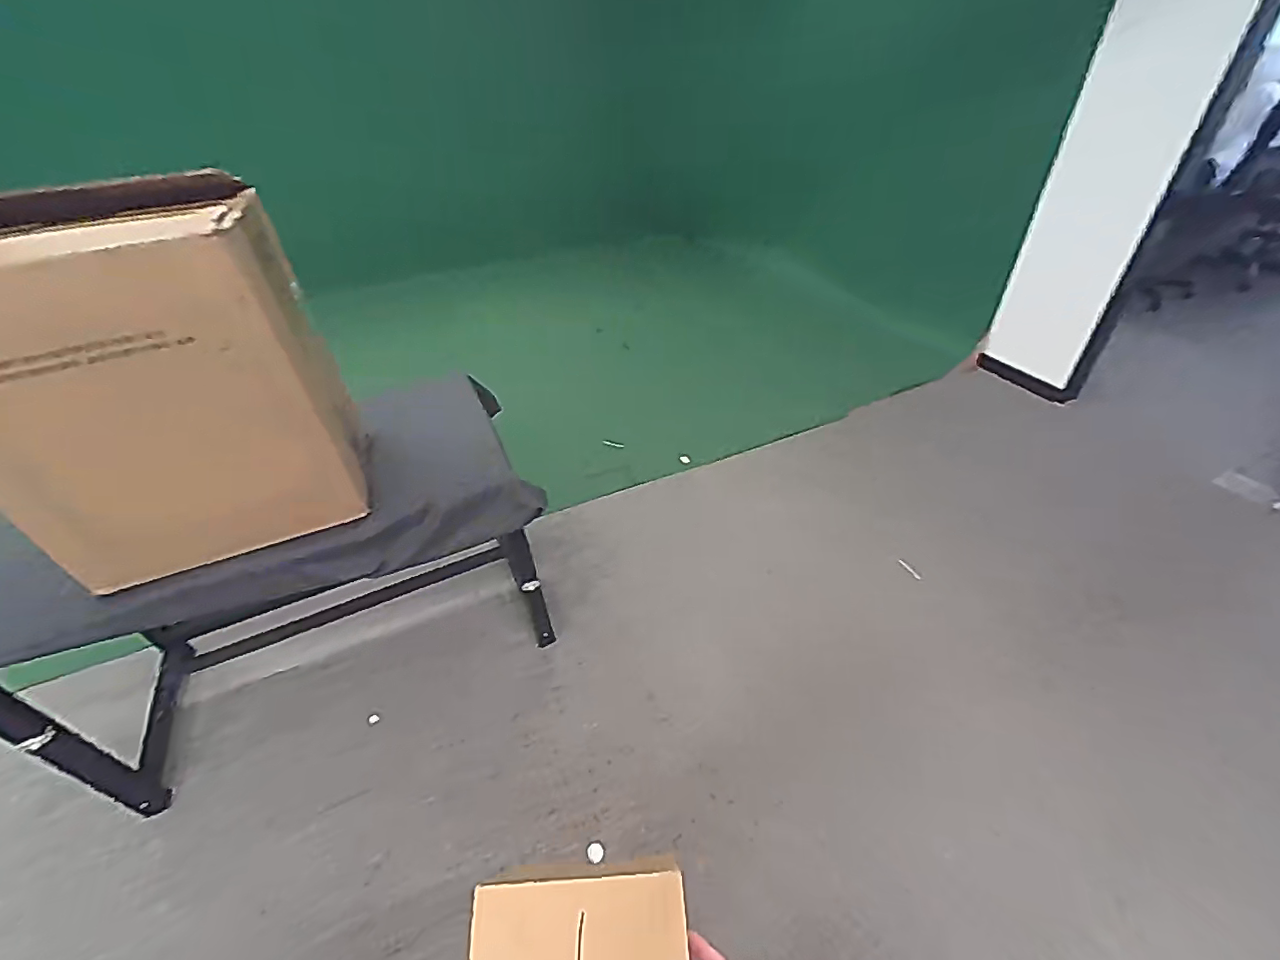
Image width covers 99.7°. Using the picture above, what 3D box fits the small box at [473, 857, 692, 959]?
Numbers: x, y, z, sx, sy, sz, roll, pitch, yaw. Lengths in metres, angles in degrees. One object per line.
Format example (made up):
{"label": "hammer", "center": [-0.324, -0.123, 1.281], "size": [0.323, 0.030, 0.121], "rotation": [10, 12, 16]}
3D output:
{"label": "small box", "center": [-0.040, 0.430, 0.448], "size": [0.168, 0.176, 0.179], "rotation": [-3, 57, -4]}
